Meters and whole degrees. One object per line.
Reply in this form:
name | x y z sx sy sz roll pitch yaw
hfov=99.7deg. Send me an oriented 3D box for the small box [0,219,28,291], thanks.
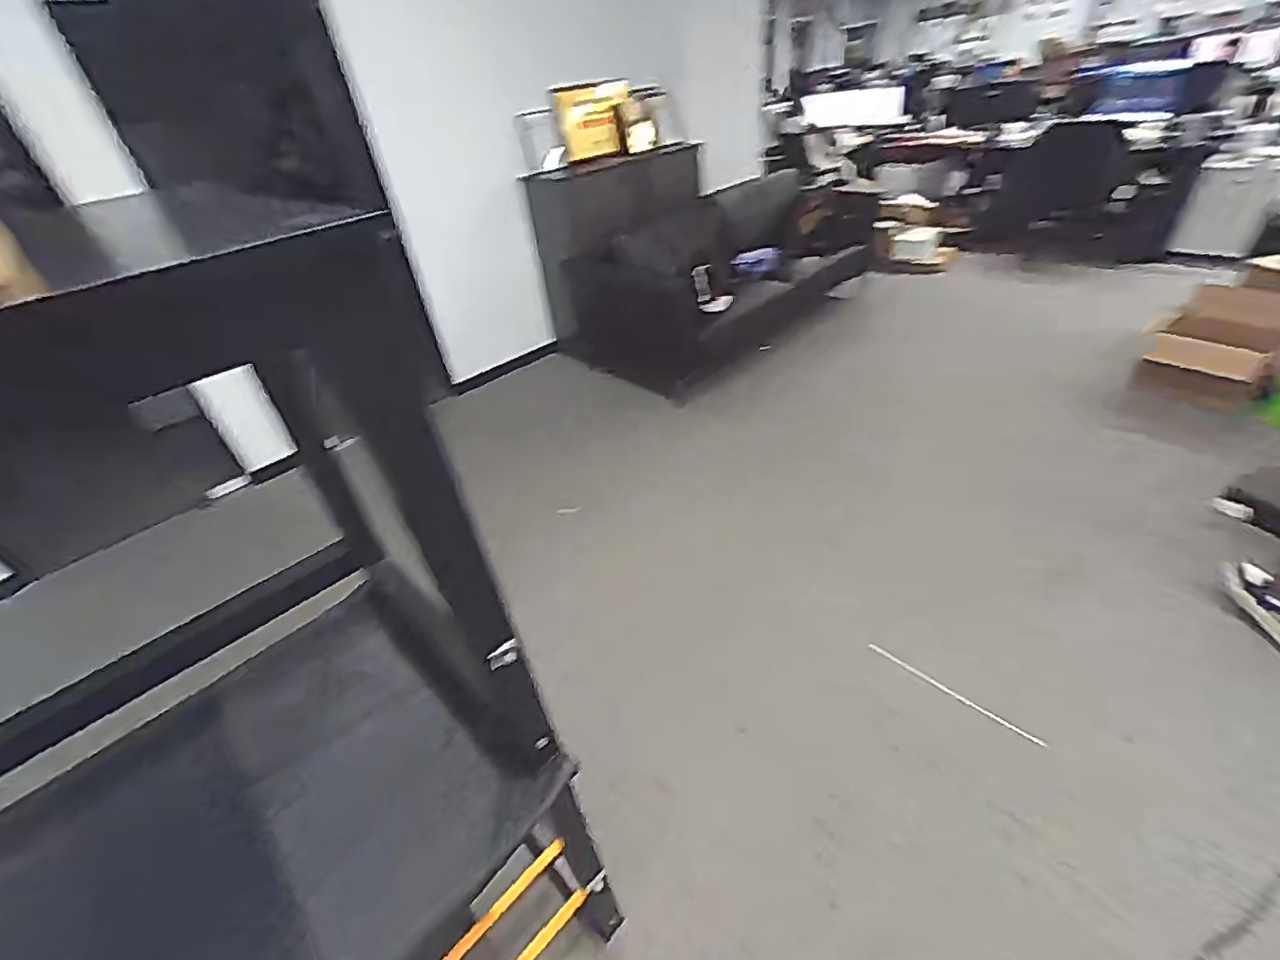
small box | -0.467 -0.163 0.264 0.168 0.176 0.179 -33 43 -31
